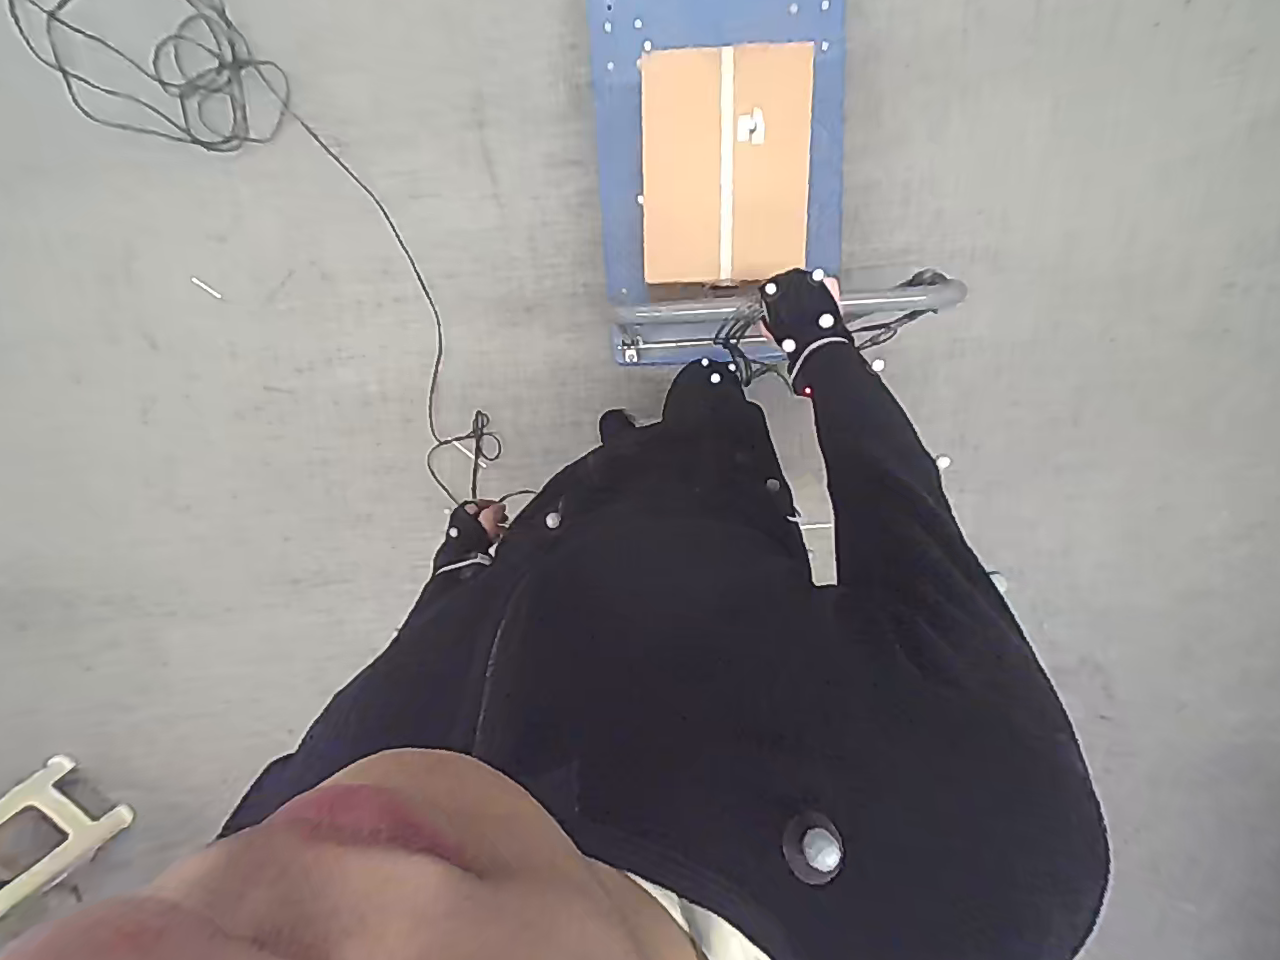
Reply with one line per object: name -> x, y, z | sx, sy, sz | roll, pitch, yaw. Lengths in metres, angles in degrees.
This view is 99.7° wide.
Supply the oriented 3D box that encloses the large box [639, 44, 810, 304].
large box -> 0.164, -0.607, 1.153 | 0.320, 0.320, 0.408 | 0, 101, 2
